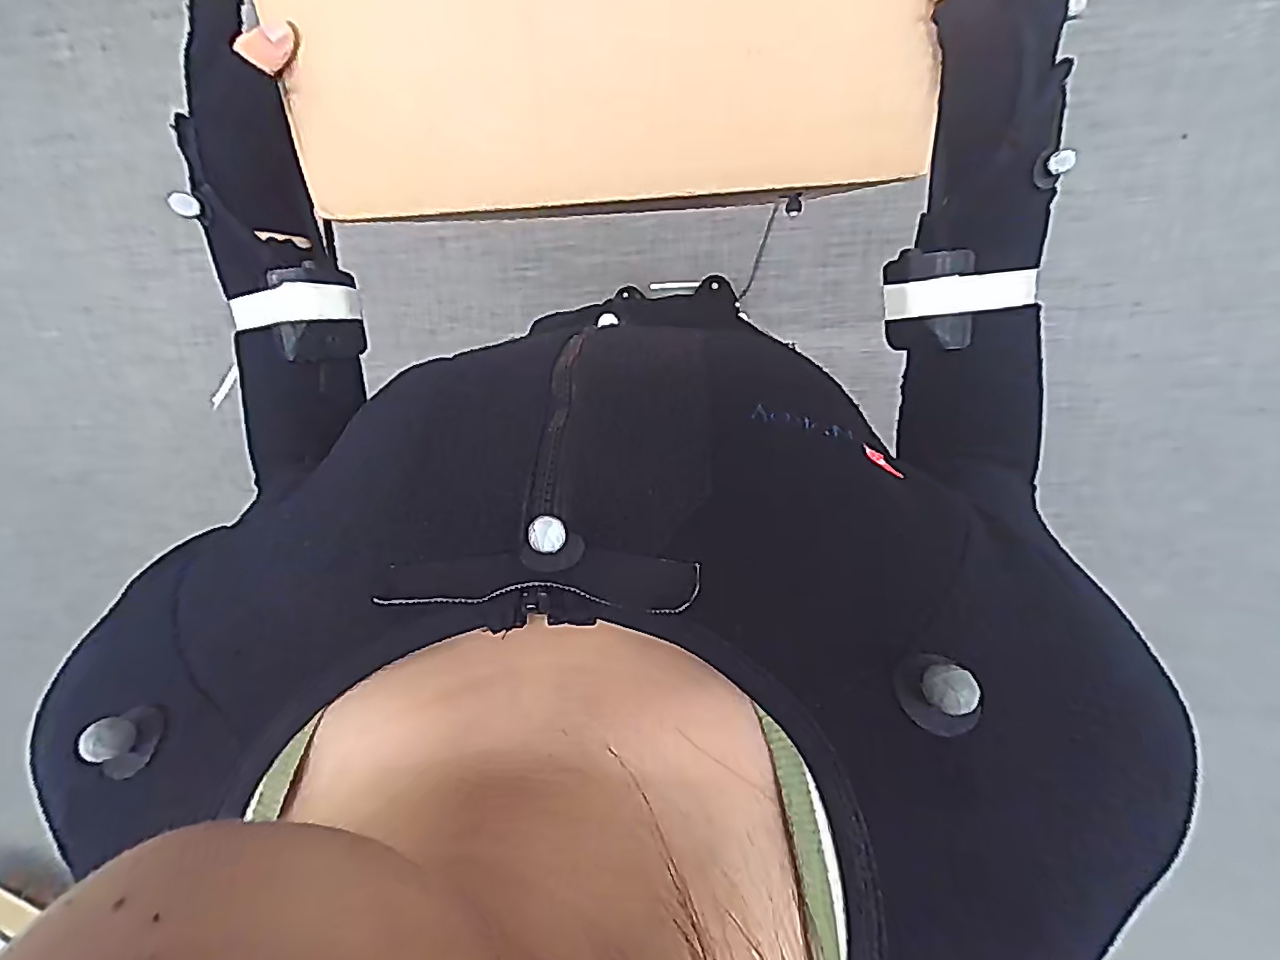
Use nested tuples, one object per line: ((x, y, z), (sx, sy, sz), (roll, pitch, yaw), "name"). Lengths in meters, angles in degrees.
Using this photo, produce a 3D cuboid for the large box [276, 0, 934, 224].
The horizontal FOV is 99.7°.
((-0.018, -0.395, 0.438), (0.408, 0.320, 0.320), (-1, 115, 6), "large box")
